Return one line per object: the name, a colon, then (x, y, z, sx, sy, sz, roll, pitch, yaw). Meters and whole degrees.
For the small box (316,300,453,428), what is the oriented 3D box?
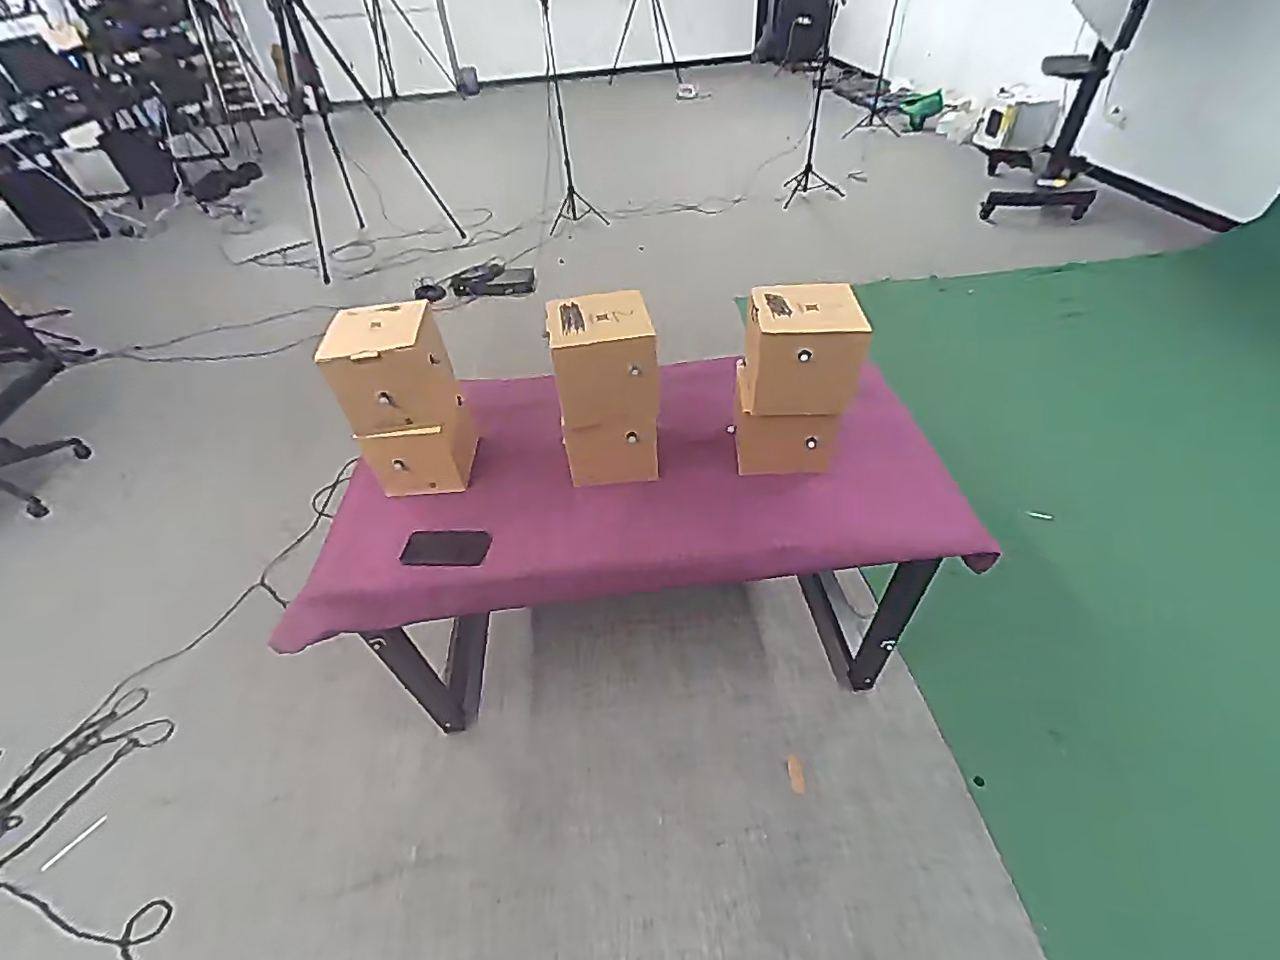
small box: (-0.461, -0.209, 1.009, 0.168, 0.176, 0.179, -7, 46, -3)

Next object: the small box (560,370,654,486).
small box: (-0.061, -0.104, 1.103, 0.179, 0.176, 0.168, -5, 45, 0)

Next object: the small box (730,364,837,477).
small box: (0.279, -0.118, 1.092, 0.179, 0.176, 0.168, 0, 45, 5)

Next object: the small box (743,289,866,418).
small box: (0.279, -0.223, 0.966, 0.179, 0.176, 0.168, 0, 45, 4)

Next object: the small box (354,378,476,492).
small box: (-0.451, -0.088, 1.120, 0.168, 0.176, 0.179, -4, 45, 1)
